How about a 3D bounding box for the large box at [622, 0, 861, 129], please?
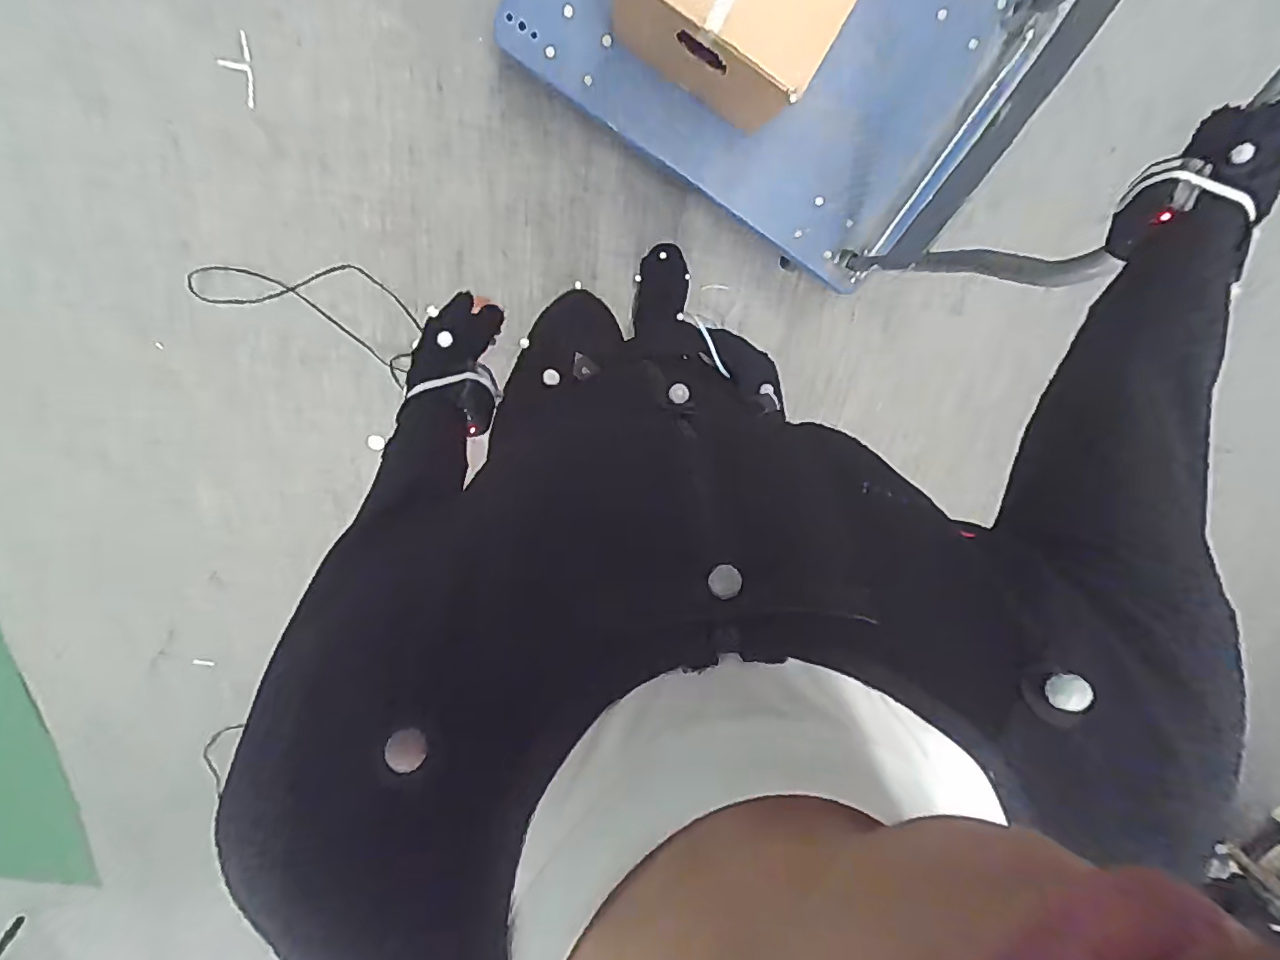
[{"bbox_3d":[0.194,-0.840,0.817,0.320,0.320,0.408,26,112,-12],"label":"large box"}]
